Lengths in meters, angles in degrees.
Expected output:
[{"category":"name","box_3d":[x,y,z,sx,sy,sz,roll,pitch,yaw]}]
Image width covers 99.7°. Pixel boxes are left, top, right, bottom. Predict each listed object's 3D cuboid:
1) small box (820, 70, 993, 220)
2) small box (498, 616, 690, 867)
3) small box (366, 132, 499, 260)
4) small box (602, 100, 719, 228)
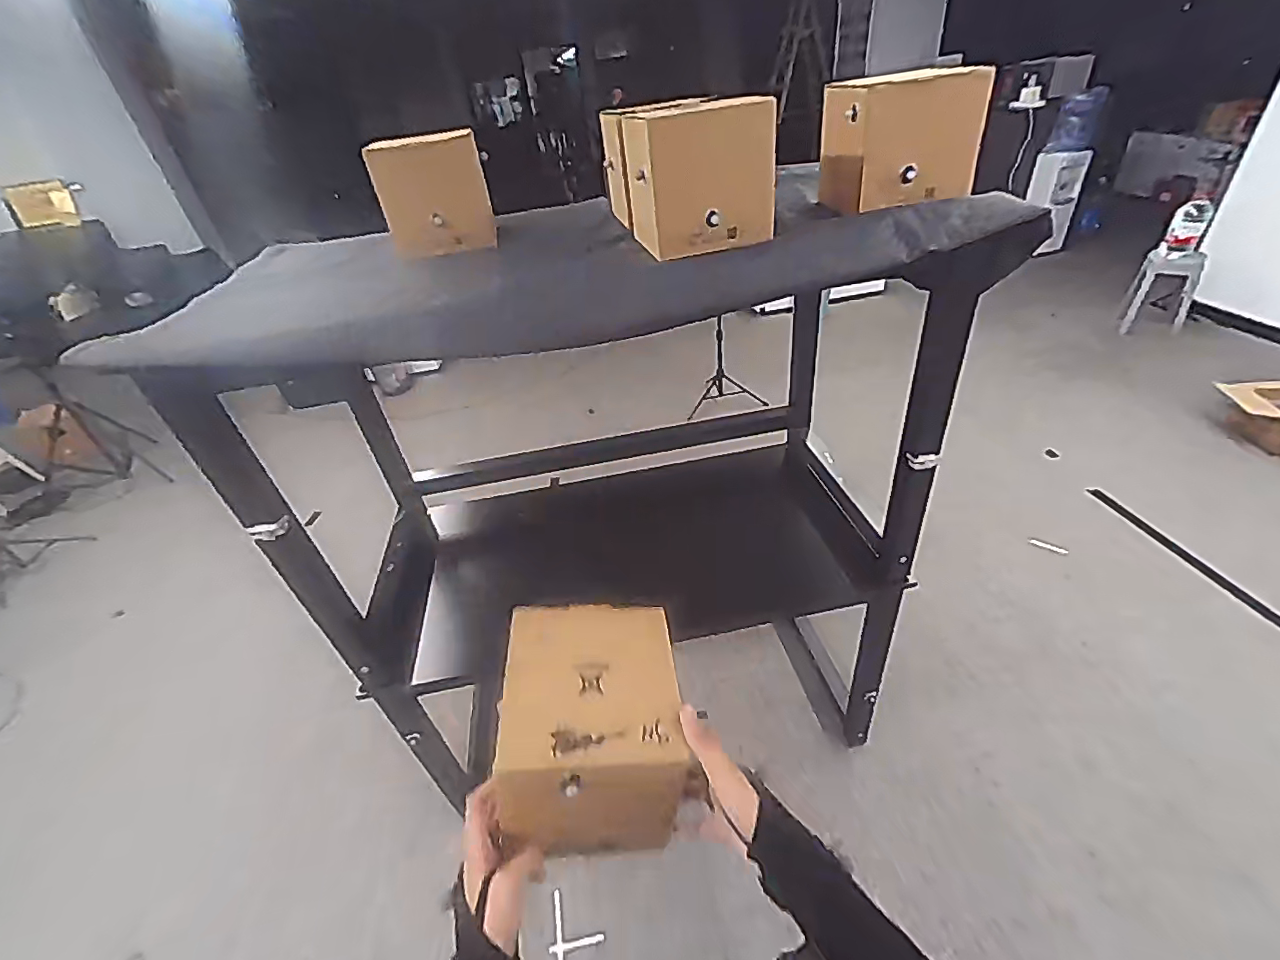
[{"category":"small box","box_3d":[0.384,-0.504,0.819,0.168,0.176,0.179,-8,36,0]},{"category":"small box","box_3d":[-0.051,0.265,0.564,0.168,0.176,0.179,2,32,-7]},{"category":"small box","box_3d":[-0.352,-0.502,0.954,0.168,0.176,0.179,-13,37,-6]},{"category":"small box","box_3d":[0.037,-0.550,0.948,0.168,0.176,0.179,-12,36,-6]}]
